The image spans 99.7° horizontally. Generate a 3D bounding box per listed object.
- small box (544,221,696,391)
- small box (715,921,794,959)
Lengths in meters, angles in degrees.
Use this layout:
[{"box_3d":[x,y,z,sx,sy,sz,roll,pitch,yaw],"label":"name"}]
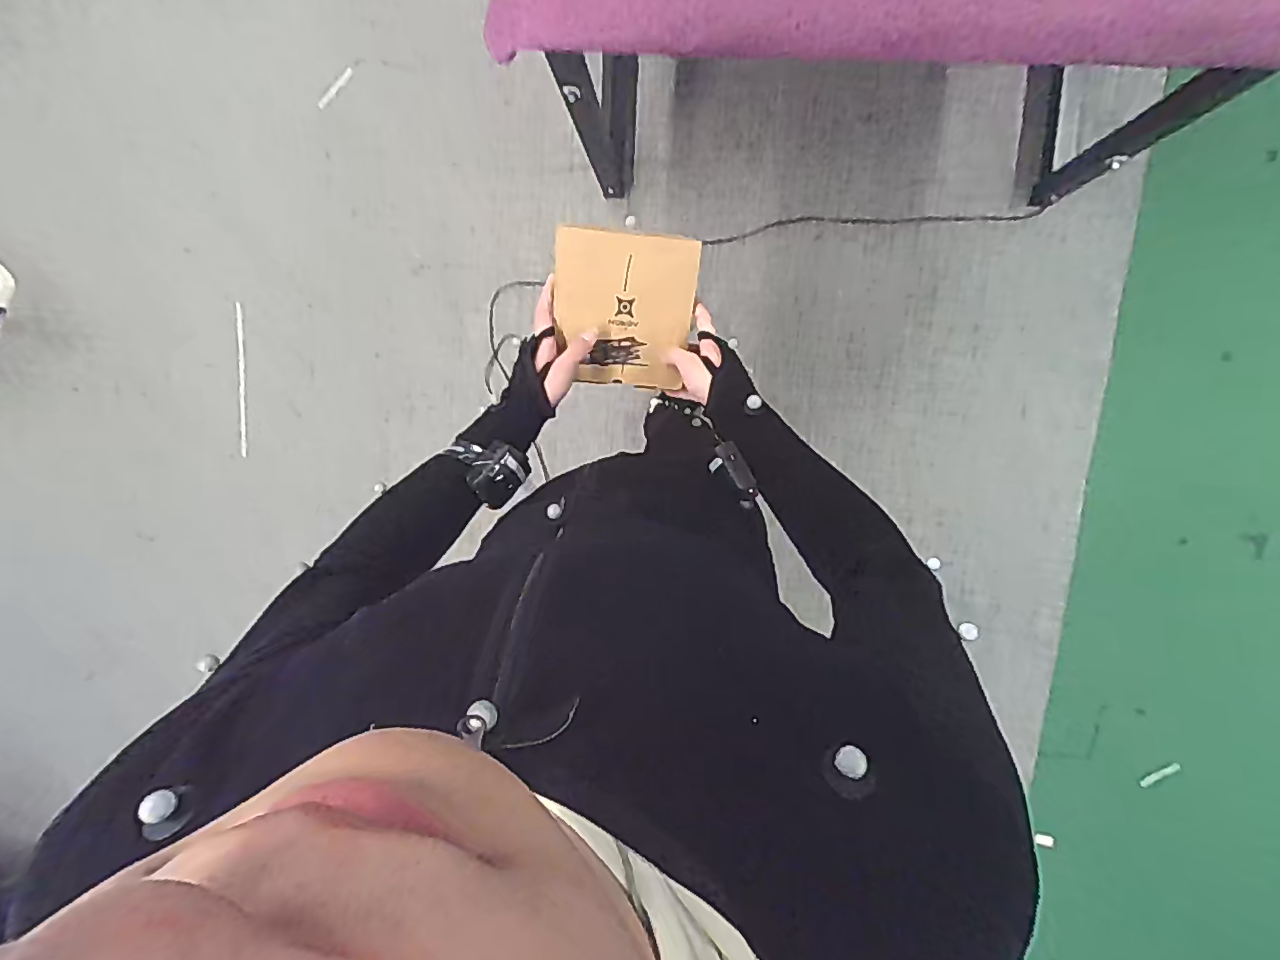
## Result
[{"box_3d":[-0.032,-0.230,0.702,0.168,0.176,0.179,3,116,-7],"label":"small box"},{"box_3d":[0.257,1.158,1.223,0.168,0.176,0.179,10,98,5],"label":"small box"}]
